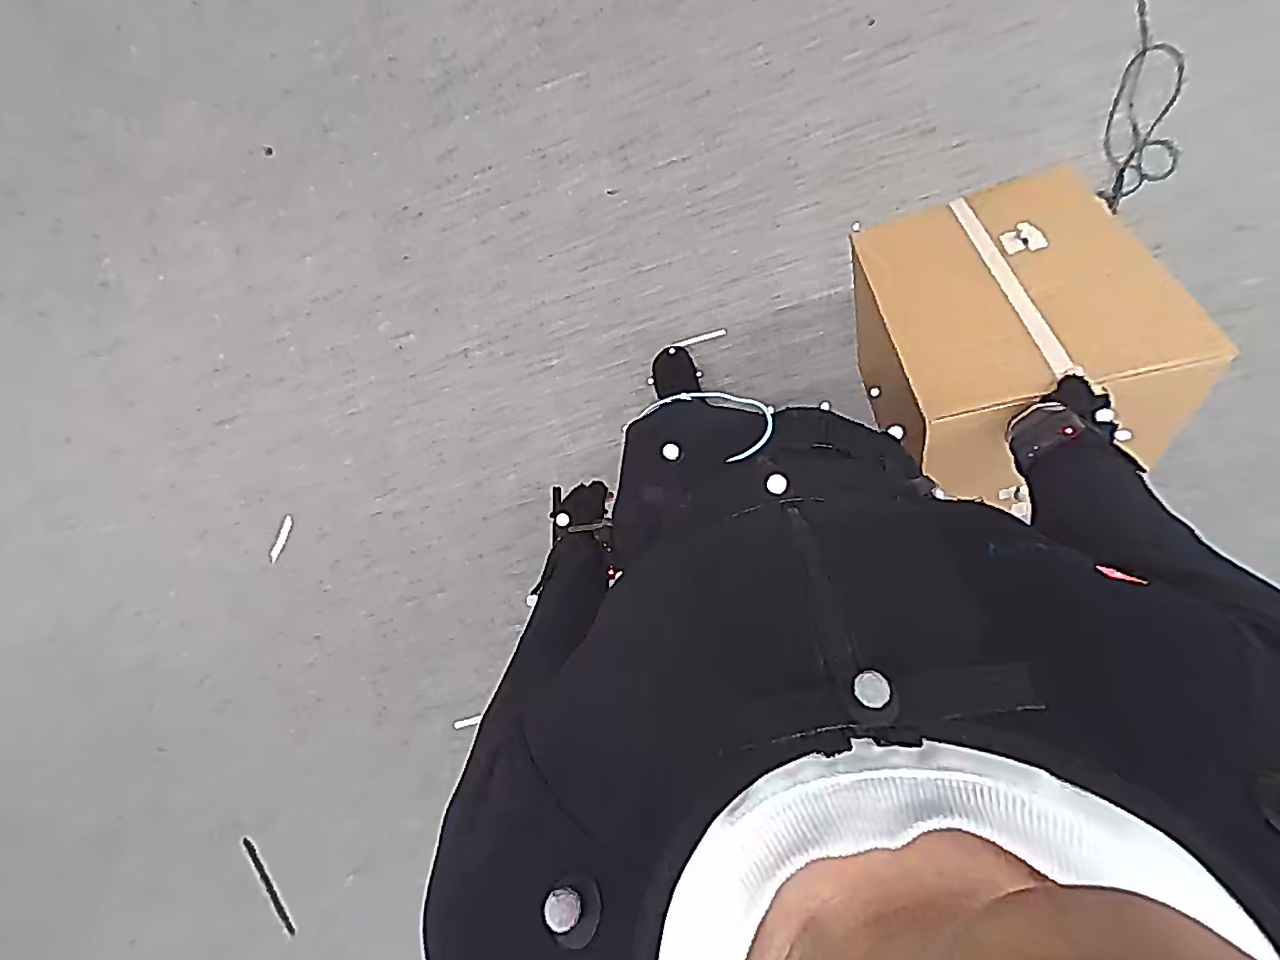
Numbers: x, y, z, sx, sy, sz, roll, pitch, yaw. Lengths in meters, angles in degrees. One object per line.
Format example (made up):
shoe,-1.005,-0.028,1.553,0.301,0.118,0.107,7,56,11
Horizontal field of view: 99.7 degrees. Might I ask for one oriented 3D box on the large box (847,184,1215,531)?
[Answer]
large box,0.550,-0.184,0.872,0.320,0.408,0.320,-12,143,15
